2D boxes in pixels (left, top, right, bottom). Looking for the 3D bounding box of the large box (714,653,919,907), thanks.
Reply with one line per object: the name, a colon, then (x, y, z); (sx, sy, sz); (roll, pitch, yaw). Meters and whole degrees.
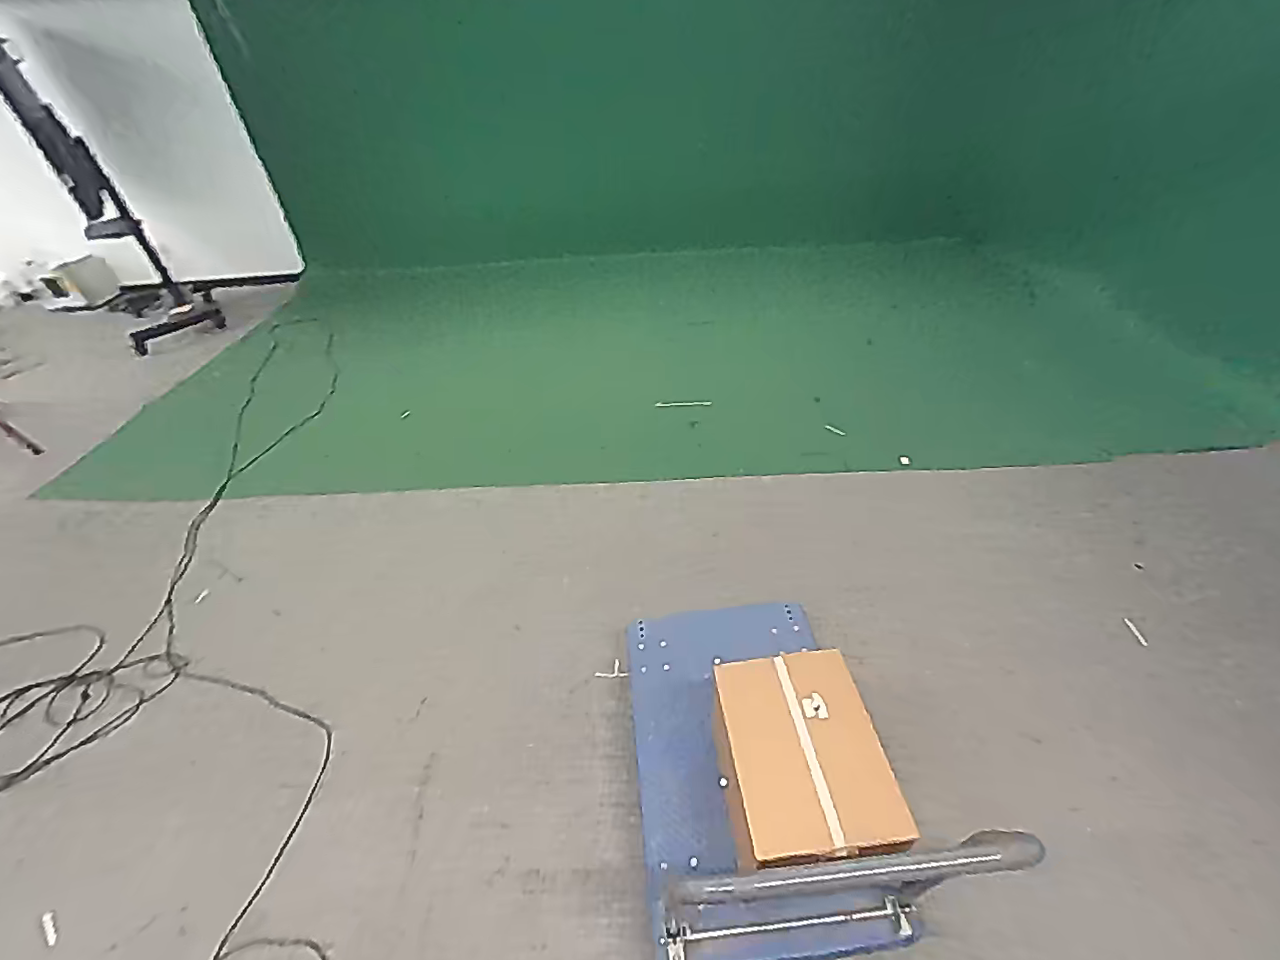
large box: (0.360, 0.675, 1.240); (0.320, 0.320, 0.408); (-6, 39, -2)
